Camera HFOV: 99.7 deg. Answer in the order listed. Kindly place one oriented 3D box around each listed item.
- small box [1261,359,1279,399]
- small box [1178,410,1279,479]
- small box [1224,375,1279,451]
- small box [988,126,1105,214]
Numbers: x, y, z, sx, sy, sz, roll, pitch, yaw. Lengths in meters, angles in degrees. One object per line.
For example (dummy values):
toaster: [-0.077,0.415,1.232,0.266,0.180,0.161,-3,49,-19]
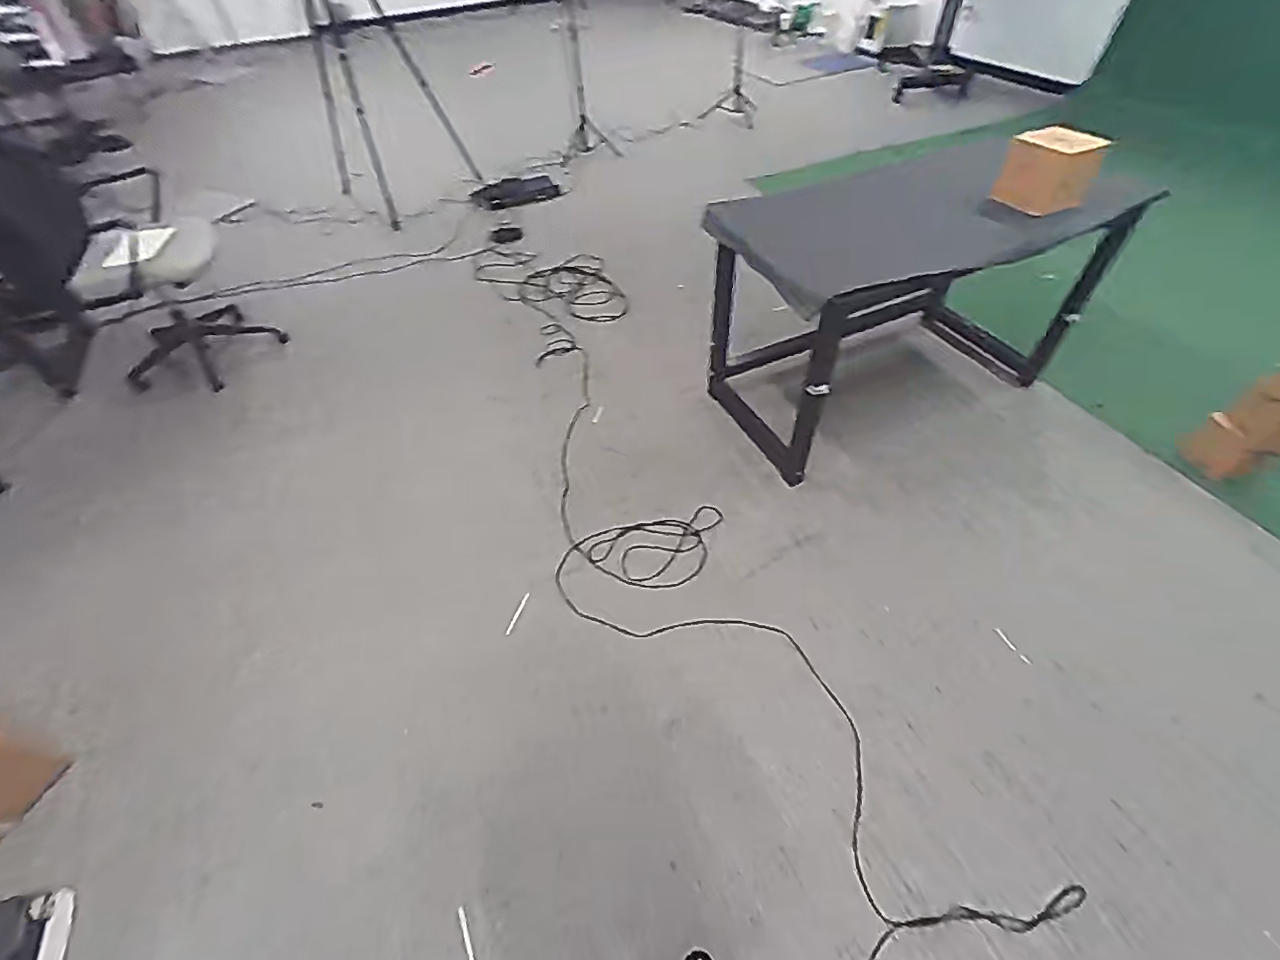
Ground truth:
small box: [1.966,-0.313,1.545,0.179,0.176,0.168,33,60,28]
small box: [1.977,-0.121,1.810,0.179,0.176,0.168,-8,51,-4]
small box: [1.977,-0.202,1.666,0.179,0.176,0.168,8,52,9]
small box: [1.155,-0.884,1.552,0.168,0.176,0.179,-21,50,-14]
